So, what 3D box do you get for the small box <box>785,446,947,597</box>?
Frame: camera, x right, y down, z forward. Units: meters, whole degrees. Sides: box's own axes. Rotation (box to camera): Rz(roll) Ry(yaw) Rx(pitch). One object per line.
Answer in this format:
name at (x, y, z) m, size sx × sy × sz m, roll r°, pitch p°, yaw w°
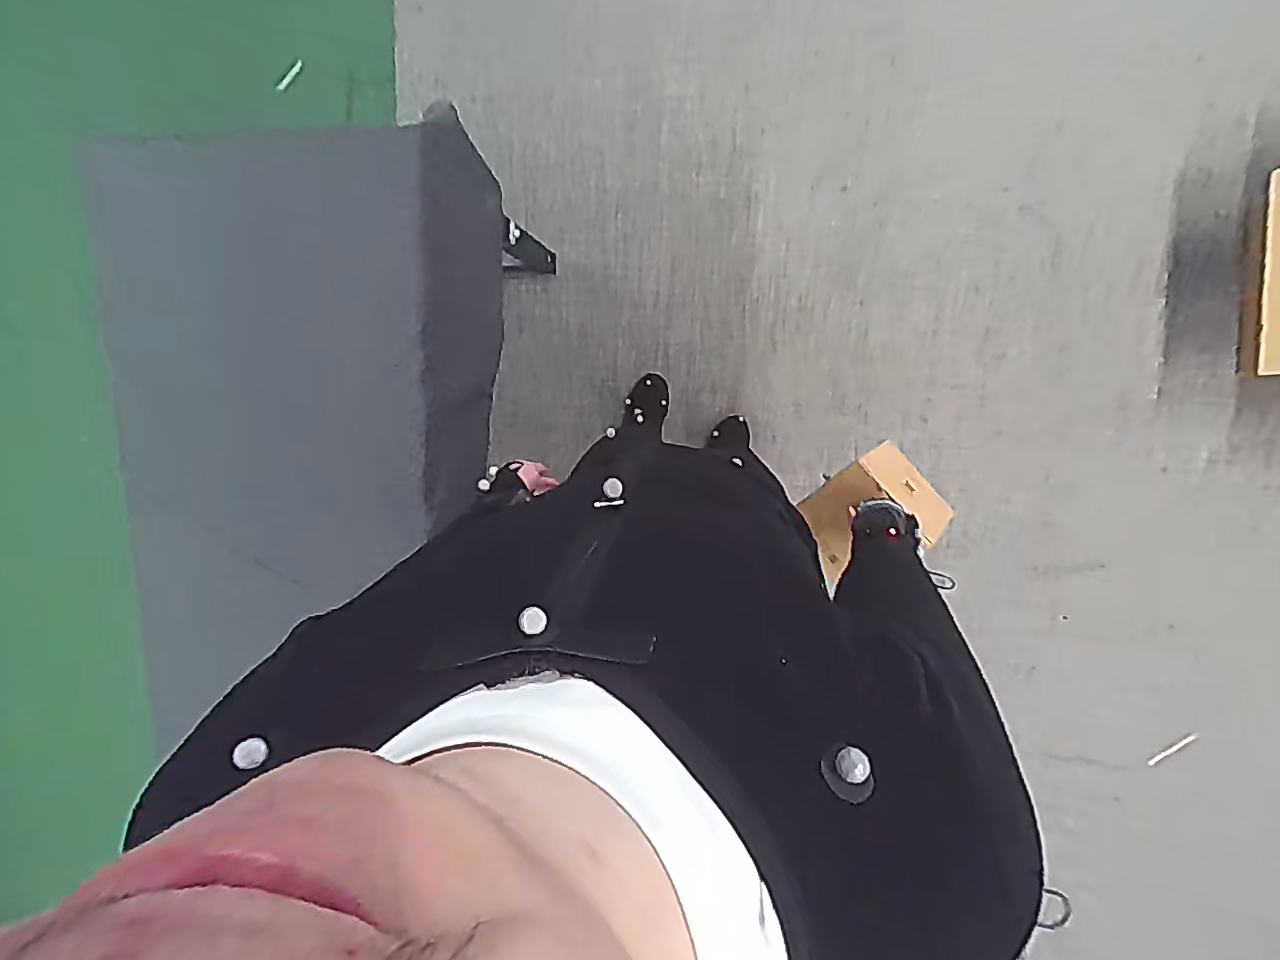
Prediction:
small box at (0.370, 0.068, 0.900) m, size 0.176 × 0.179 × 0.168 m, roll -45°, pitch 75°, yaw 35°
